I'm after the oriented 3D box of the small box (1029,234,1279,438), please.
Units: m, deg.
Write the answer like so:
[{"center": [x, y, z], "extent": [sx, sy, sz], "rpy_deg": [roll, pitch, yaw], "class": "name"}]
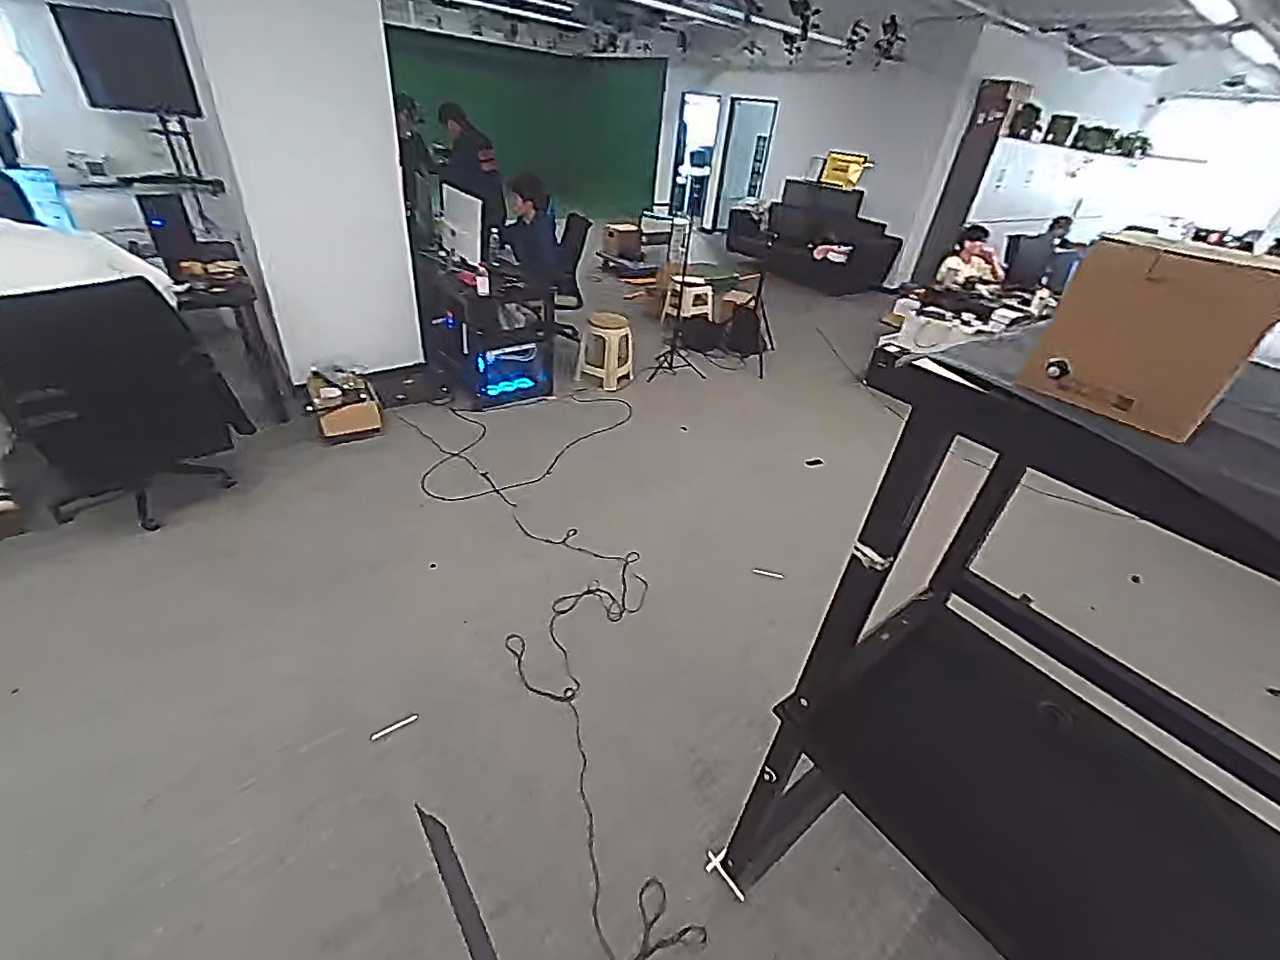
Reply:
[{"center": [0.577, -0.164, 0.600], "extent": [0.179, 0.176, 0.168], "rpy_deg": [-20, 43, -35], "class": "small box"}]
